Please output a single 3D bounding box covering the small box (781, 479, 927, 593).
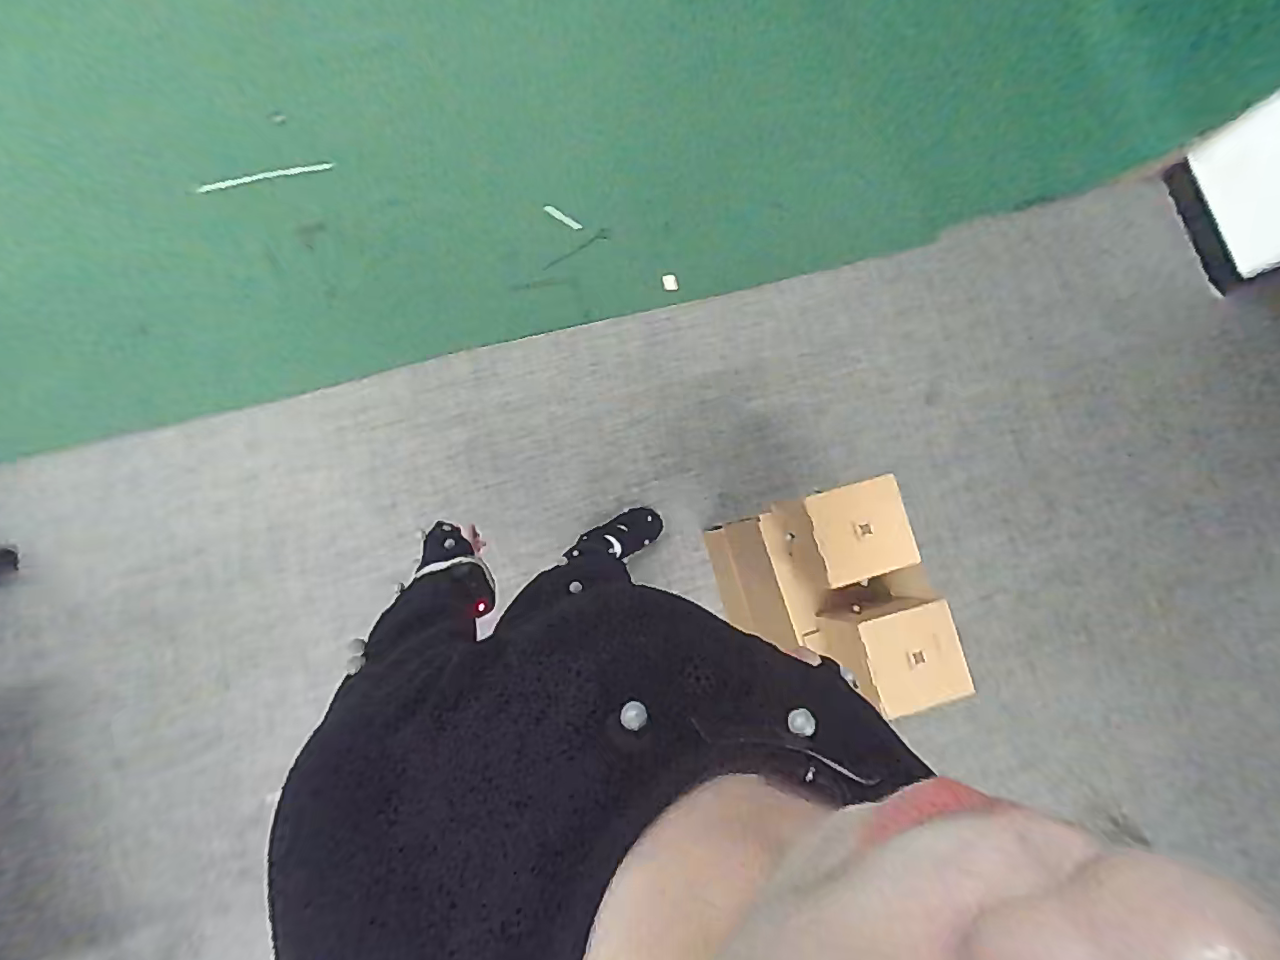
[{"bbox_3d":[0.392,0.103,1.019,0.179,0.176,0.168,-15,85,-6],"label":"small box"}]

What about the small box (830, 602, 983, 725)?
[{"bbox_3d":[0.471,0.325,0.992,0.179,0.176,0.168,-12,82,-9],"label":"small box"}]
